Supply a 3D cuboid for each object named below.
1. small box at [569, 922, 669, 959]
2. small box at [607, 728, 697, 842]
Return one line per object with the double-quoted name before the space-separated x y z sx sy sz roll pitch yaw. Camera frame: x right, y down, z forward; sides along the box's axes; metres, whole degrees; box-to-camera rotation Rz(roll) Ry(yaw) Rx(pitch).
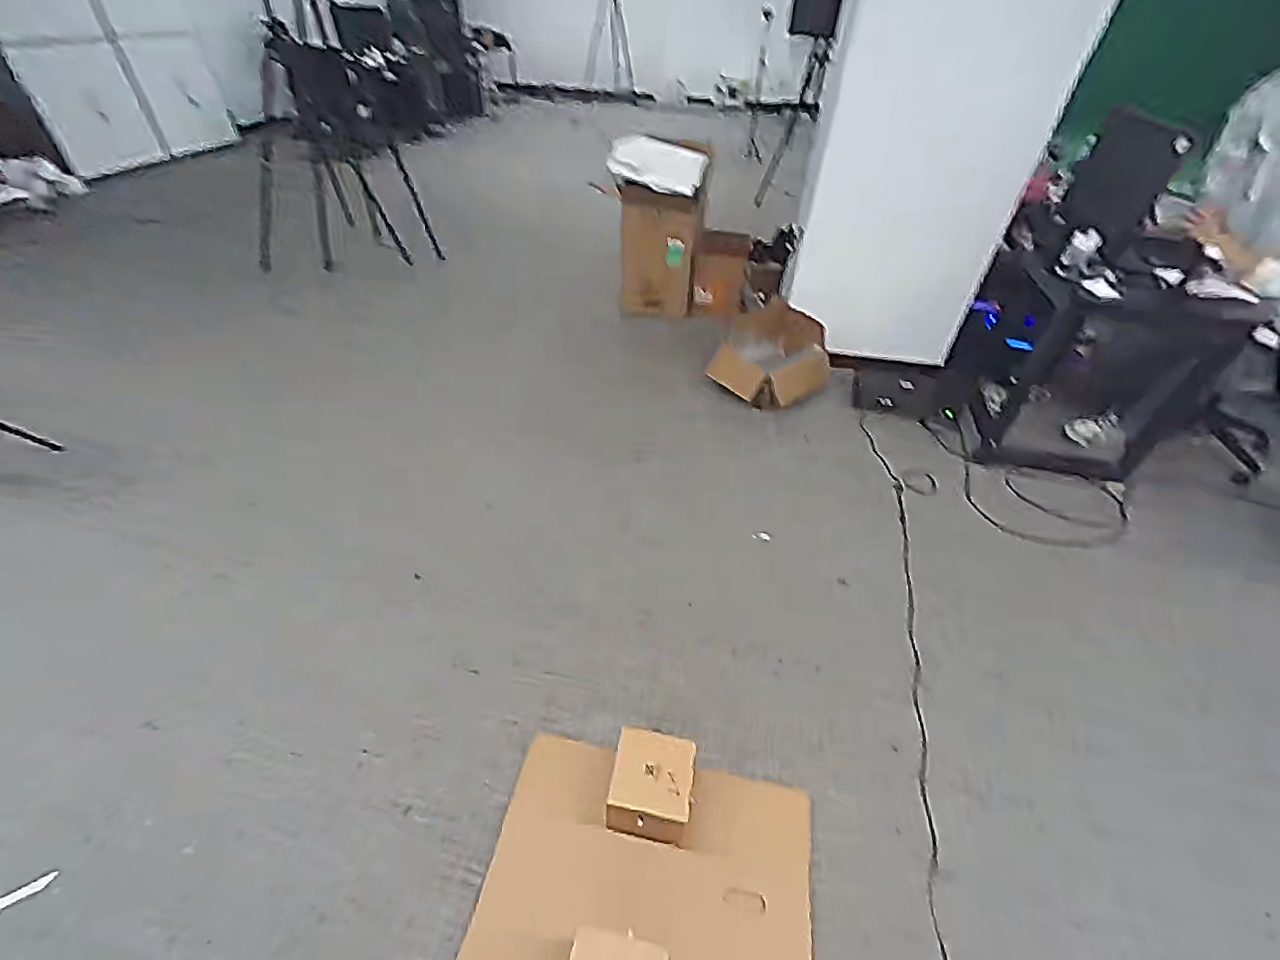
"small box" -0.051 0.942 0.983 0.179 0.176 0.168 10 43 7
"small box" 0.026 0.705 1.246 0.179 0.176 0.168 11 43 7
